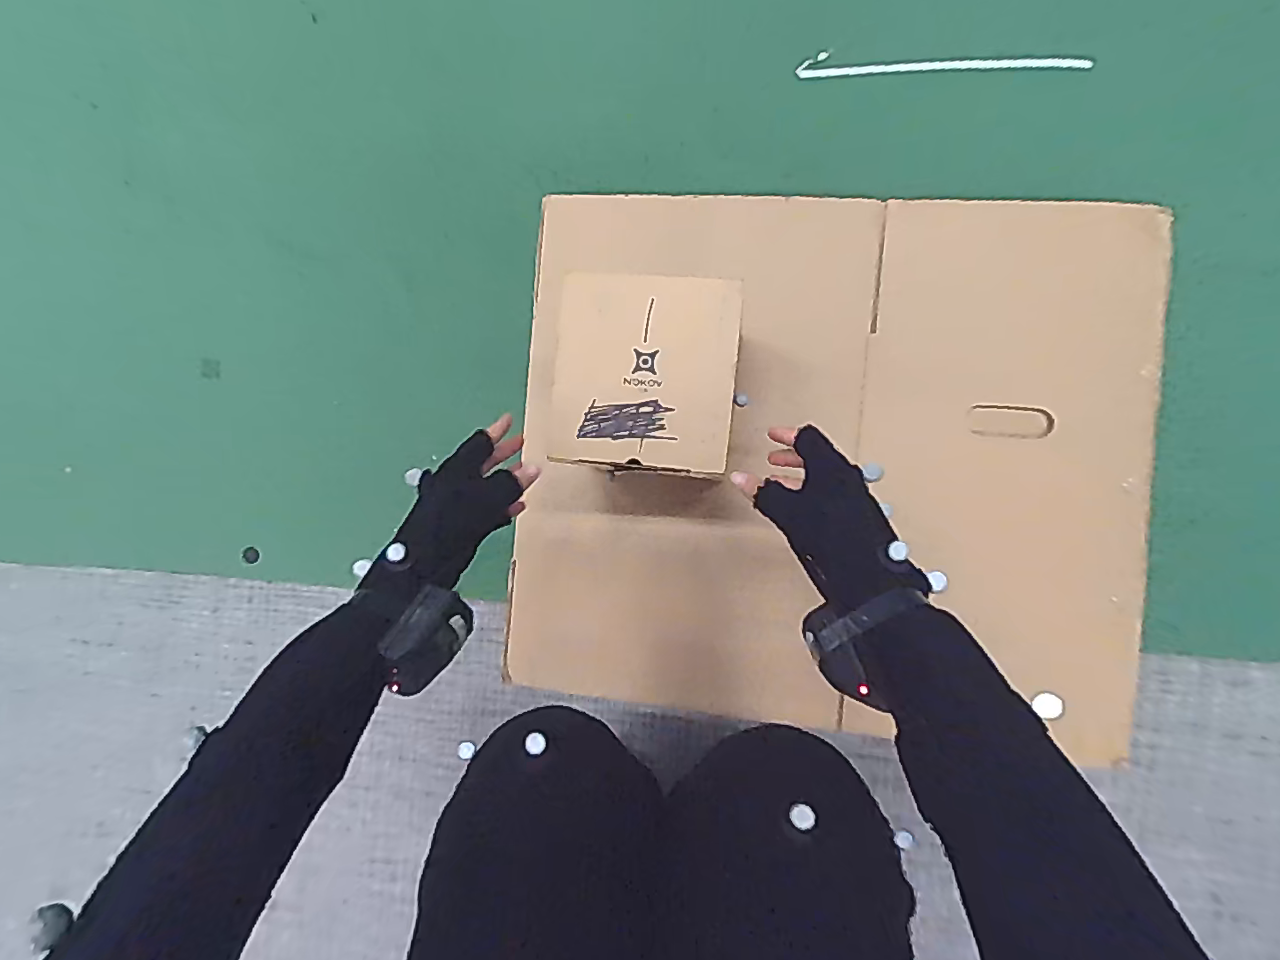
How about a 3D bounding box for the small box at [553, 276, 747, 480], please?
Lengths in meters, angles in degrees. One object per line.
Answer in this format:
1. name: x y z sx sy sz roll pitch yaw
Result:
1. small box: 0.020 -0.094 0.568 0.168 0.176 0.179 6 89 9
